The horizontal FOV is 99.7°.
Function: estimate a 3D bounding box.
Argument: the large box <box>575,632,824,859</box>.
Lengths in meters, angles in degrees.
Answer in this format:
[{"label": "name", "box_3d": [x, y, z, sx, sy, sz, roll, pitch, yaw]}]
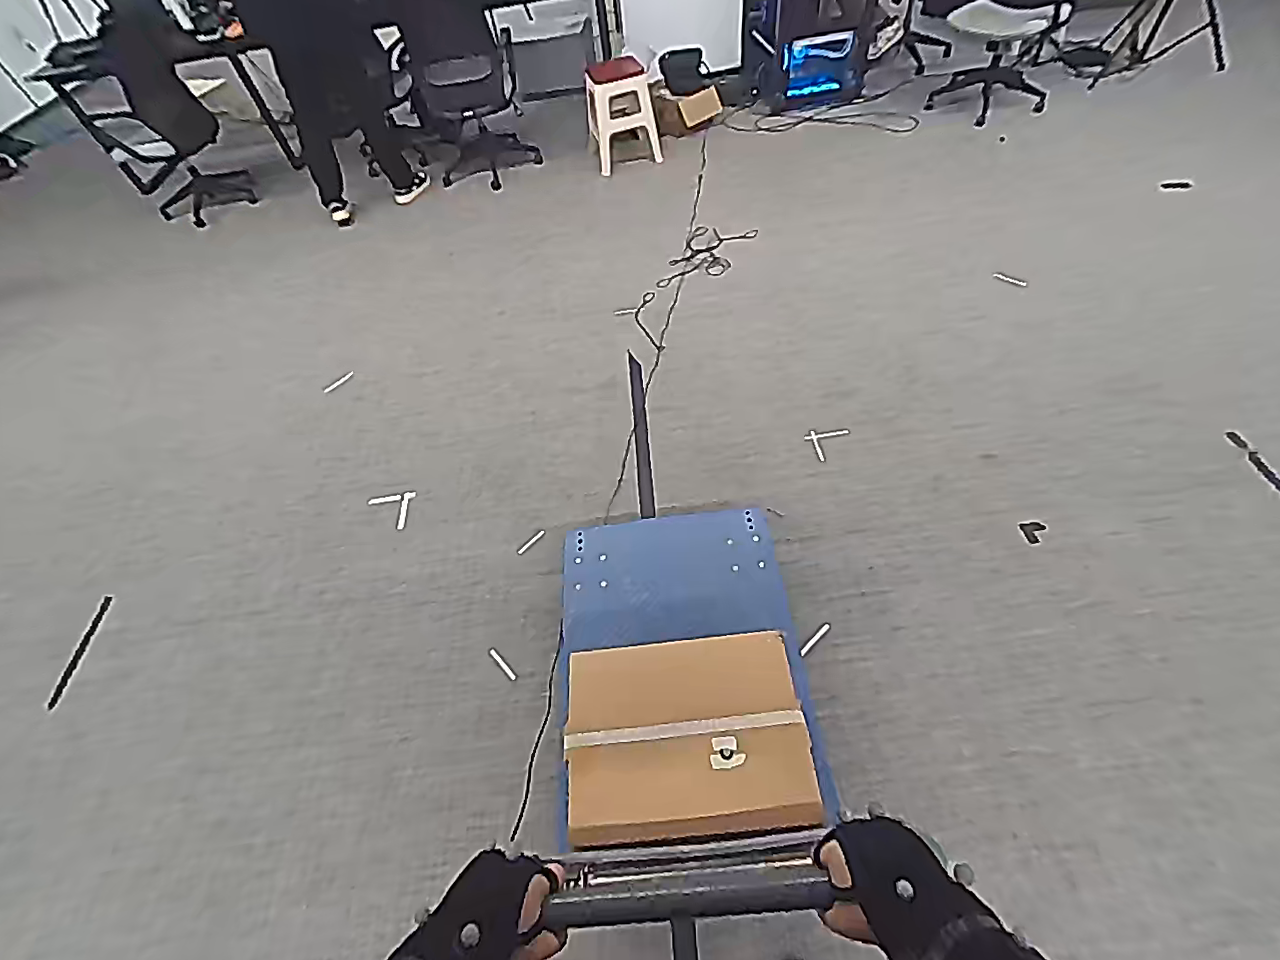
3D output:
[{"label": "large box", "box_3d": [0.096, 0.528, 1.063, 0.408, 0.320, 0.320, -7, 52, 2]}]
